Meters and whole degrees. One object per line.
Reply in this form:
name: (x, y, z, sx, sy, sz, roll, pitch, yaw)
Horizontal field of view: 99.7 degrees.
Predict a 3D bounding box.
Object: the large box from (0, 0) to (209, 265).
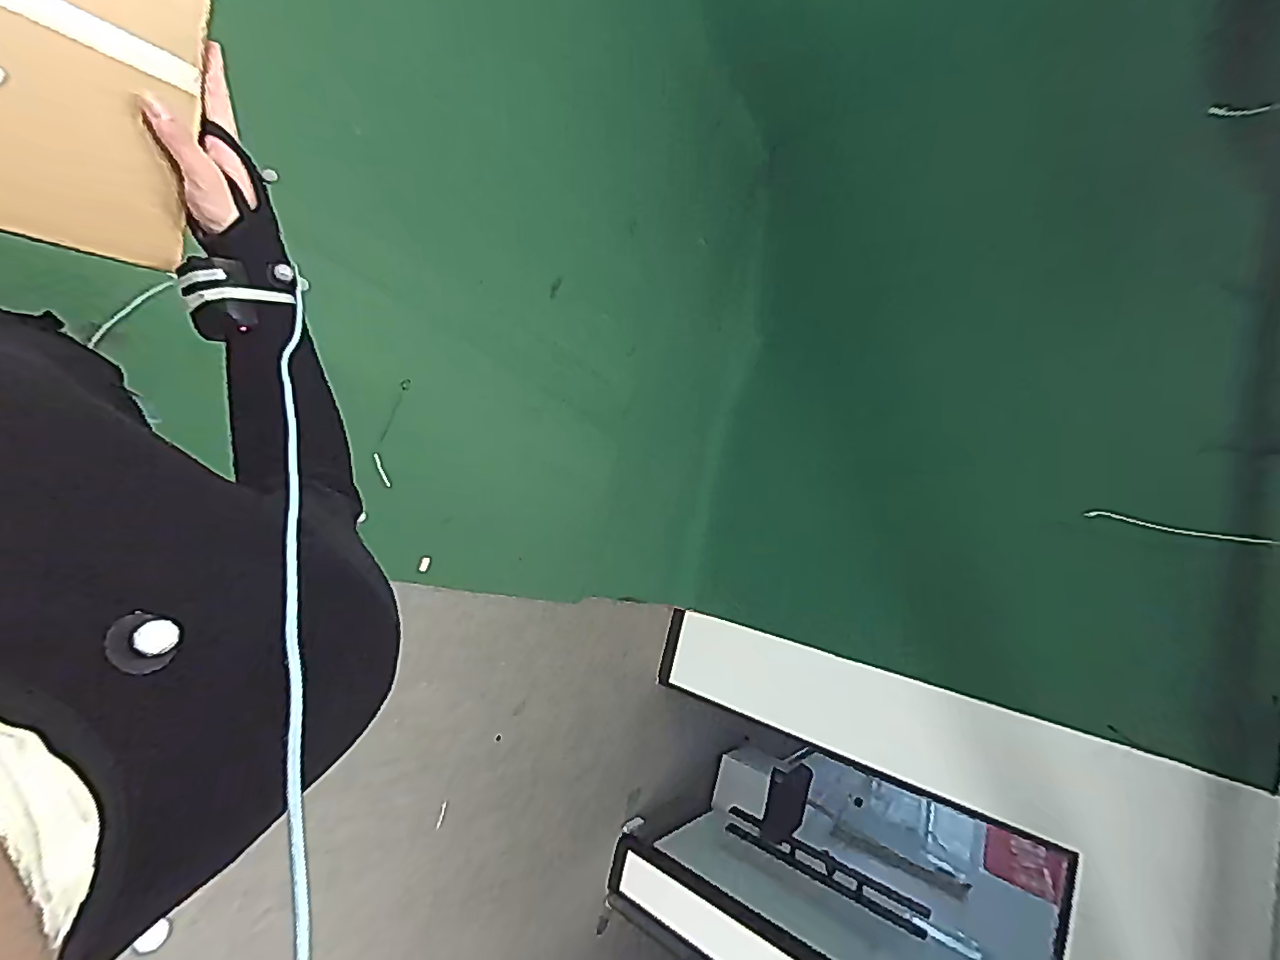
large box: (-0.614, -0.383, 0.399, 0.408, 0.320, 0.320, 3, 105, -51)
